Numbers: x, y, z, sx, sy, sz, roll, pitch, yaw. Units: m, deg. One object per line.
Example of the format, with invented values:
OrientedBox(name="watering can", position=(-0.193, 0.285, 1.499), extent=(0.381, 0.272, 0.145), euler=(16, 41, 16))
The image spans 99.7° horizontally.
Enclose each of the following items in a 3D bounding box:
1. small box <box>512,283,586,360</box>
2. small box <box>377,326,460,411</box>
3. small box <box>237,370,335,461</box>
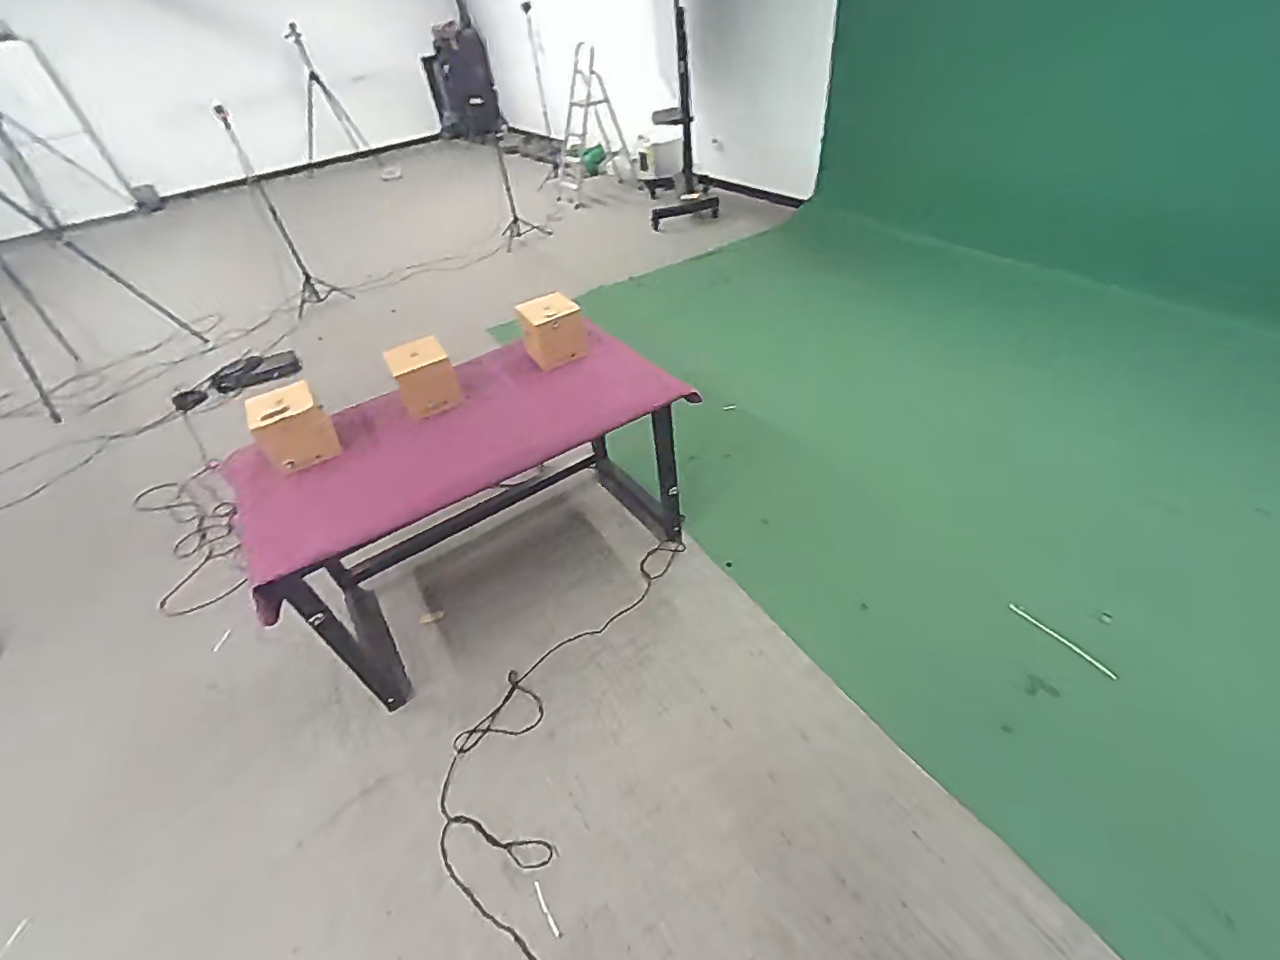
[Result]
OrientedBox(name="small box", position=(-0.297, -0.520, 1.780), extent=(0.168, 0.176, 0.179), euler=(-27, 48, -19))
OrientedBox(name="small box", position=(-0.669, -0.338, 1.640), extent=(0.168, 0.176, 0.179), euler=(-26, 48, -18))
OrientedBox(name="small box", position=(-0.977, -0.173, 1.501), extent=(0.168, 0.176, 0.179), euler=(-26, 48, -20))
